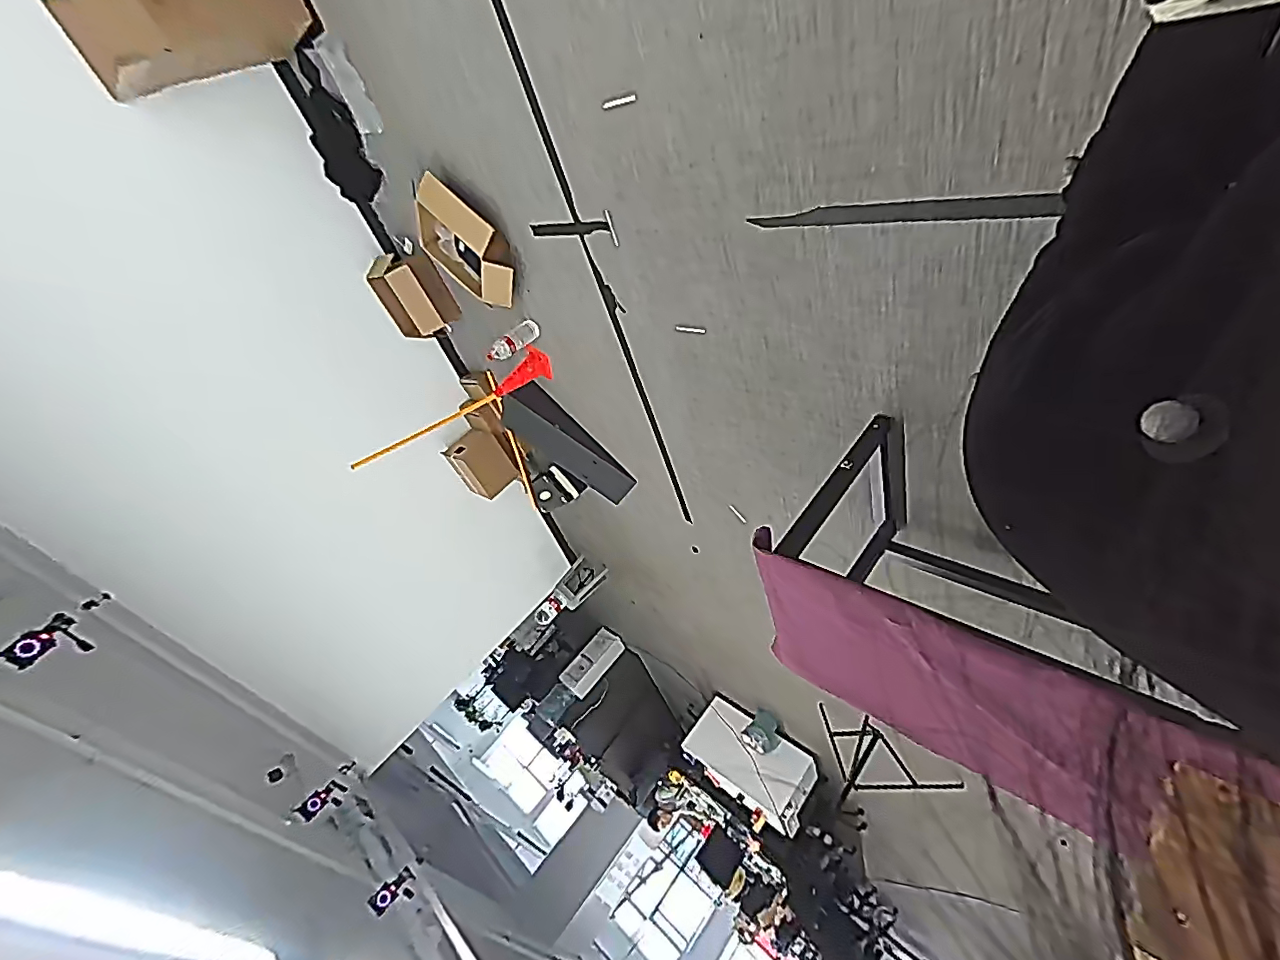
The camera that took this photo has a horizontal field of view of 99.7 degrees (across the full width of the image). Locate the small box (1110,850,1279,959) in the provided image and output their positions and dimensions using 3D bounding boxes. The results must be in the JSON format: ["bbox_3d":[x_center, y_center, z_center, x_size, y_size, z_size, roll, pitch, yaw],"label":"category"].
[{"bbox_3d":[0.906,0.742,0.878,0.179,0.176,0.168,16,144,43],"label":"small box"}]

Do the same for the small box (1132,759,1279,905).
[{"bbox_3d":[1.007,0.637,0.949,0.168,0.176,0.179,18,143,43],"label":"small box"}]
